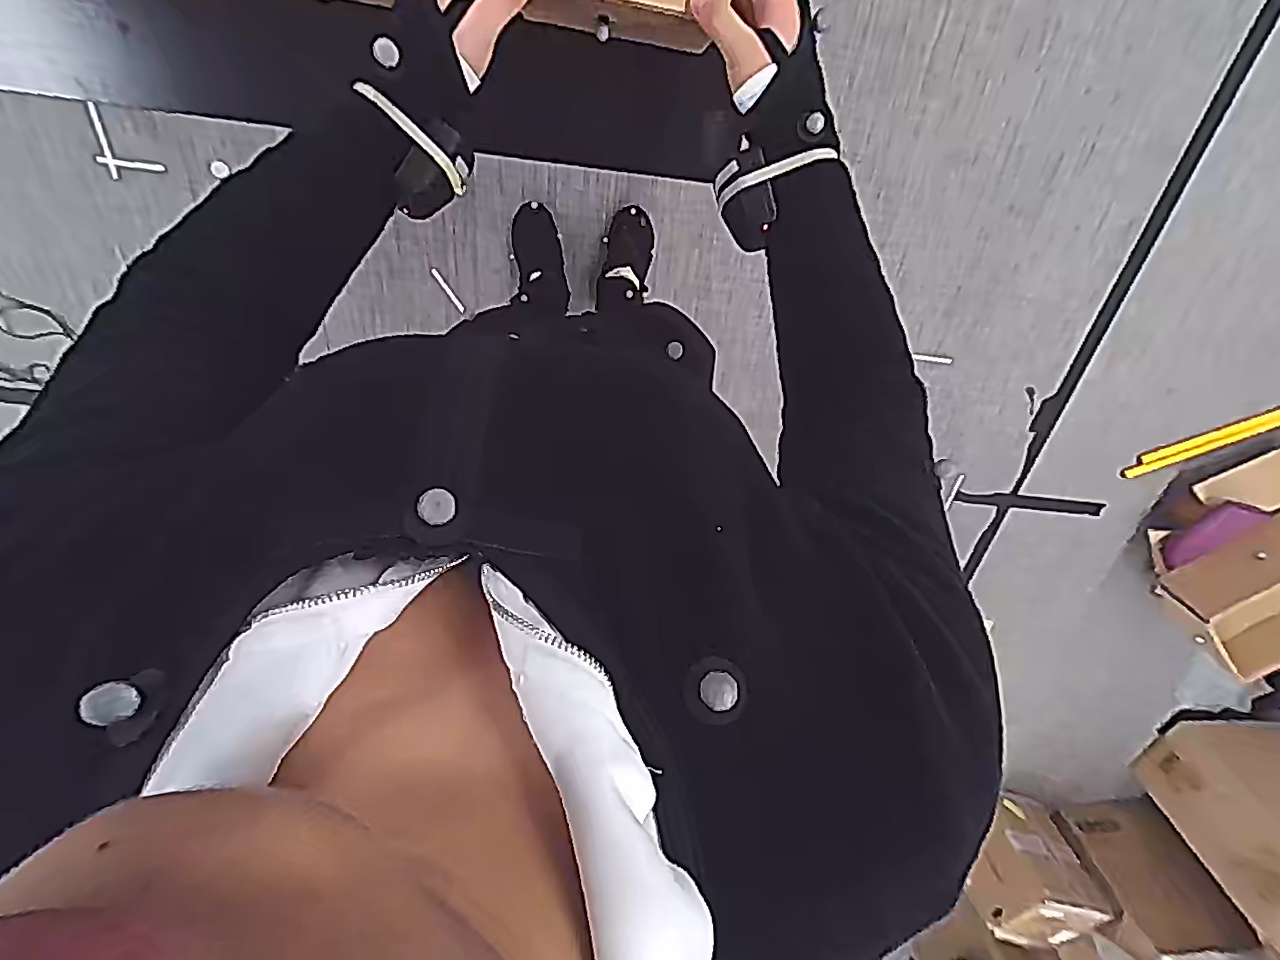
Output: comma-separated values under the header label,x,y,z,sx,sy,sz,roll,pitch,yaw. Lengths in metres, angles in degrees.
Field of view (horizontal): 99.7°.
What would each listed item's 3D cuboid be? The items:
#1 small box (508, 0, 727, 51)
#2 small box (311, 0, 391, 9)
label,x,y,z,sx,sy,sz,roll,pitch,yaw
small box,-0.014,-0.459,0.421,0.179,0.176,0.168,7,121,-5
small box,-0.291,-0.484,0.401,0.179,0.176,0.168,5,119,-5
